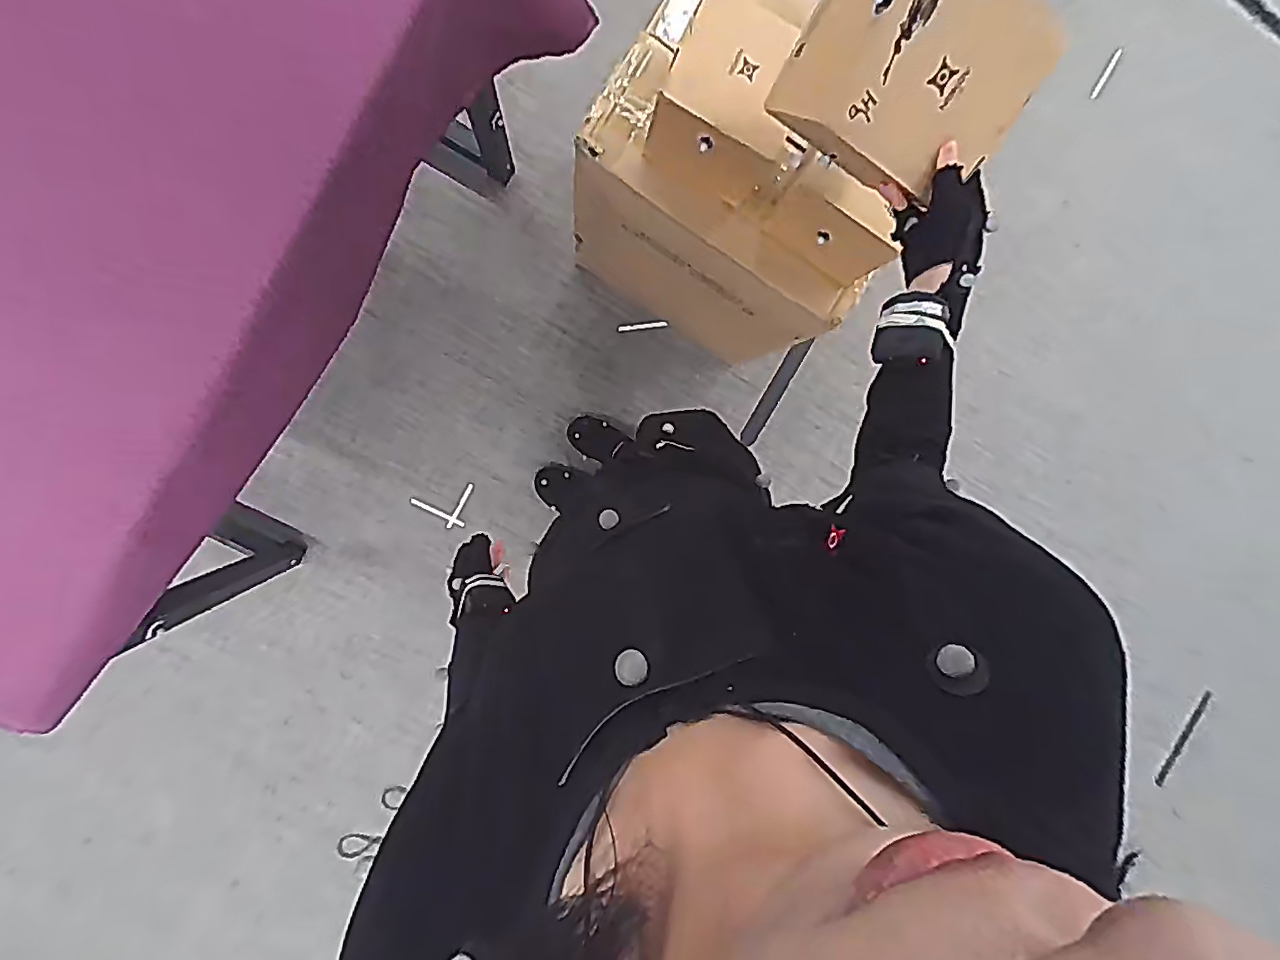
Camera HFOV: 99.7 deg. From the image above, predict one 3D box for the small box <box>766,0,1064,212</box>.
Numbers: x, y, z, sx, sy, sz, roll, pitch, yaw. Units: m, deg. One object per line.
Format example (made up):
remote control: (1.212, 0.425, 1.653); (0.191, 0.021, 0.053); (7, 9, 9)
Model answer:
small box: (0.266, -0.416, 0.561); (0.179, 0.176, 0.168); (18, 121, -25)

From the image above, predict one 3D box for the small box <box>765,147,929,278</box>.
small box: (0.318, -0.425, 0.802); (0.179, 0.176, 0.168); (30, 91, -6)

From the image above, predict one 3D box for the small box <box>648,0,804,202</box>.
small box: (0.125, -0.535, 0.771); (0.179, 0.176, 0.168); (25, 93, -10)
